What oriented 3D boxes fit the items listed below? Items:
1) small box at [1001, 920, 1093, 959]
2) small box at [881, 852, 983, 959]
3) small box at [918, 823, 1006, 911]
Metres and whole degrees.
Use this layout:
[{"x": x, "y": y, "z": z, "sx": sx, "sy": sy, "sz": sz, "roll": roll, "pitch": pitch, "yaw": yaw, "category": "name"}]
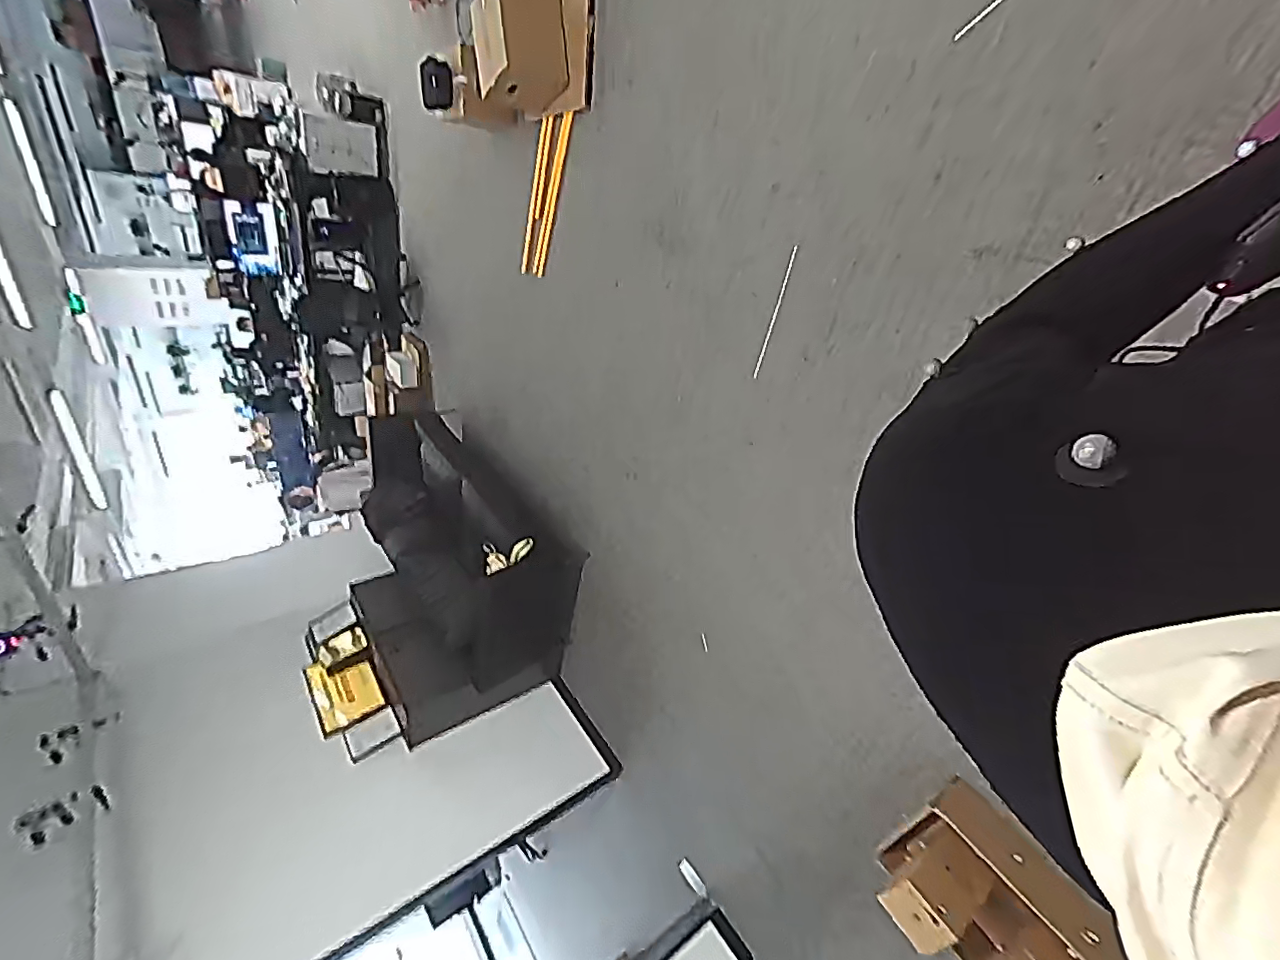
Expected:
[{"x": 1.157, "y": 1.395, "z": 1.520, "sx": 0.168, "sy": 0.176, "sz": 0.179, "roll": 46, "pitch": 136, "yaw": 34, "category": "small box"}, {"x": 0.859, "y": 1.245, "z": 1.587, "sx": 0.168, "sy": 0.176, "sz": 0.179, "roll": 47, "pitch": 136, "yaw": 33, "category": "small box"}, {"x": 0.991, "y": 1.219, "z": 1.681, "sx": 0.168, "sy": 0.176, "sz": 0.179, "roll": 46, "pitch": 134, "yaw": 34, "category": "small box"}]
